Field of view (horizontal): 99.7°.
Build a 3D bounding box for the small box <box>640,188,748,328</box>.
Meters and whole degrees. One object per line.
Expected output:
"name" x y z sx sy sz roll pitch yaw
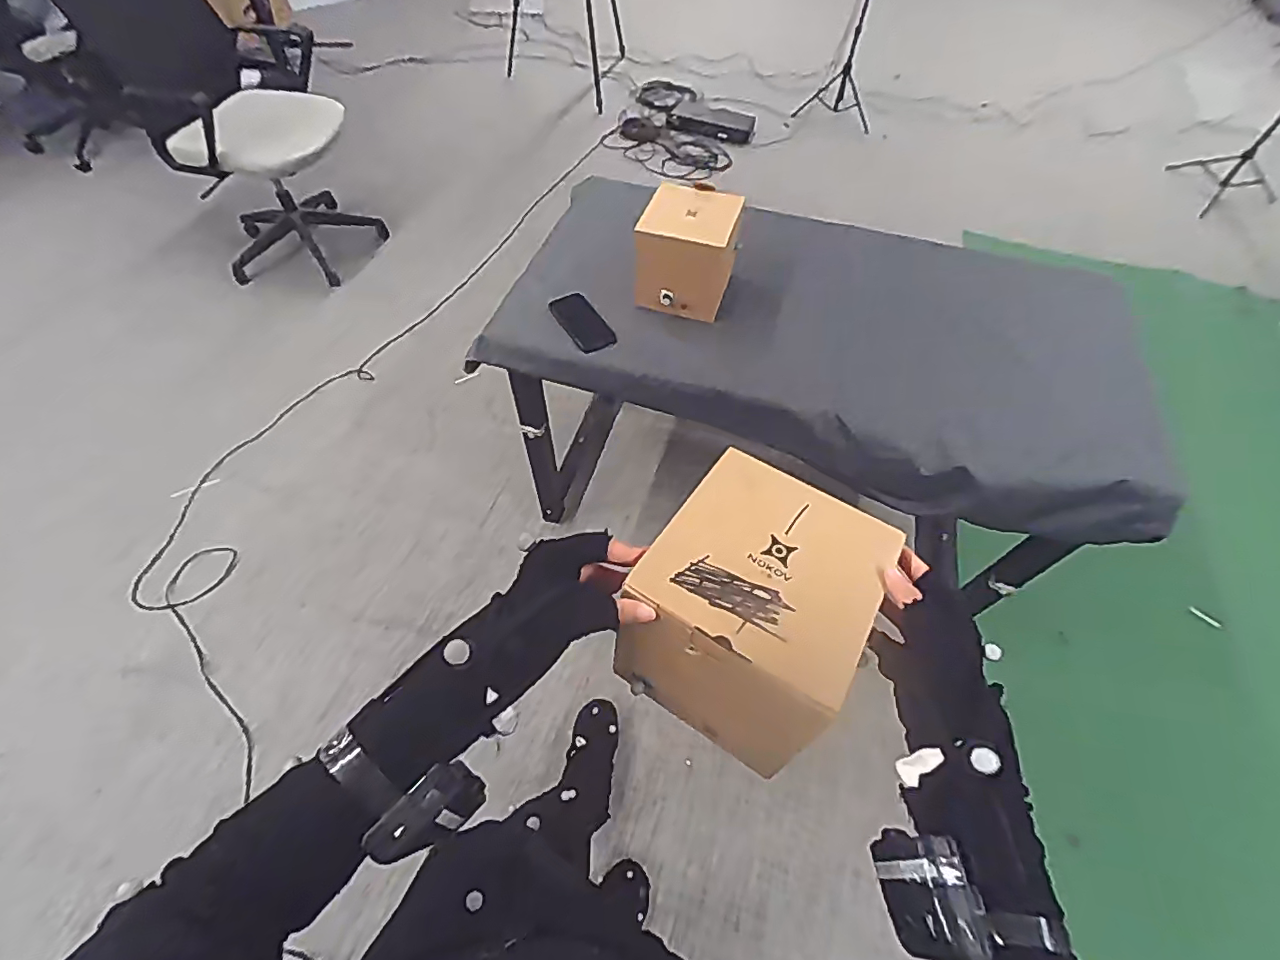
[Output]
"small box" 0.100 -0.429 1.049 0.168 0.176 0.179 15 57 9
